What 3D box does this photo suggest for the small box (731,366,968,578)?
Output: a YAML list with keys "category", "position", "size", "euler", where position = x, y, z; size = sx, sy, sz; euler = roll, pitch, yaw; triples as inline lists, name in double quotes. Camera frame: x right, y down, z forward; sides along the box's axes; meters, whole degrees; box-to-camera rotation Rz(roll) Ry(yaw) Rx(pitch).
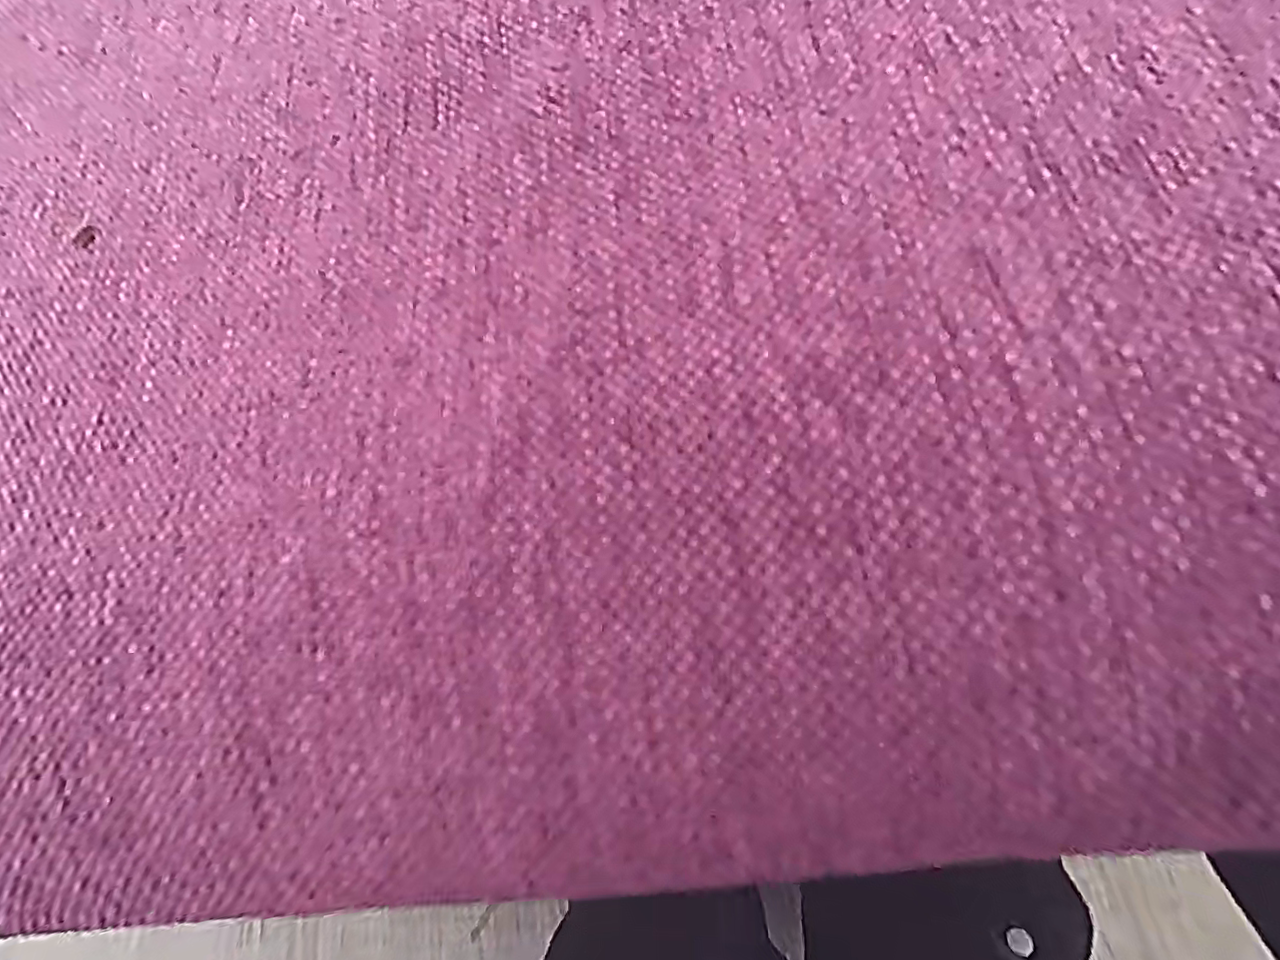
- category: "small box"
  position: [0.193, 0.007, 0.550]
  size: [0.179, 0.176, 0.168]
  euler: [-8, 76, 10]
